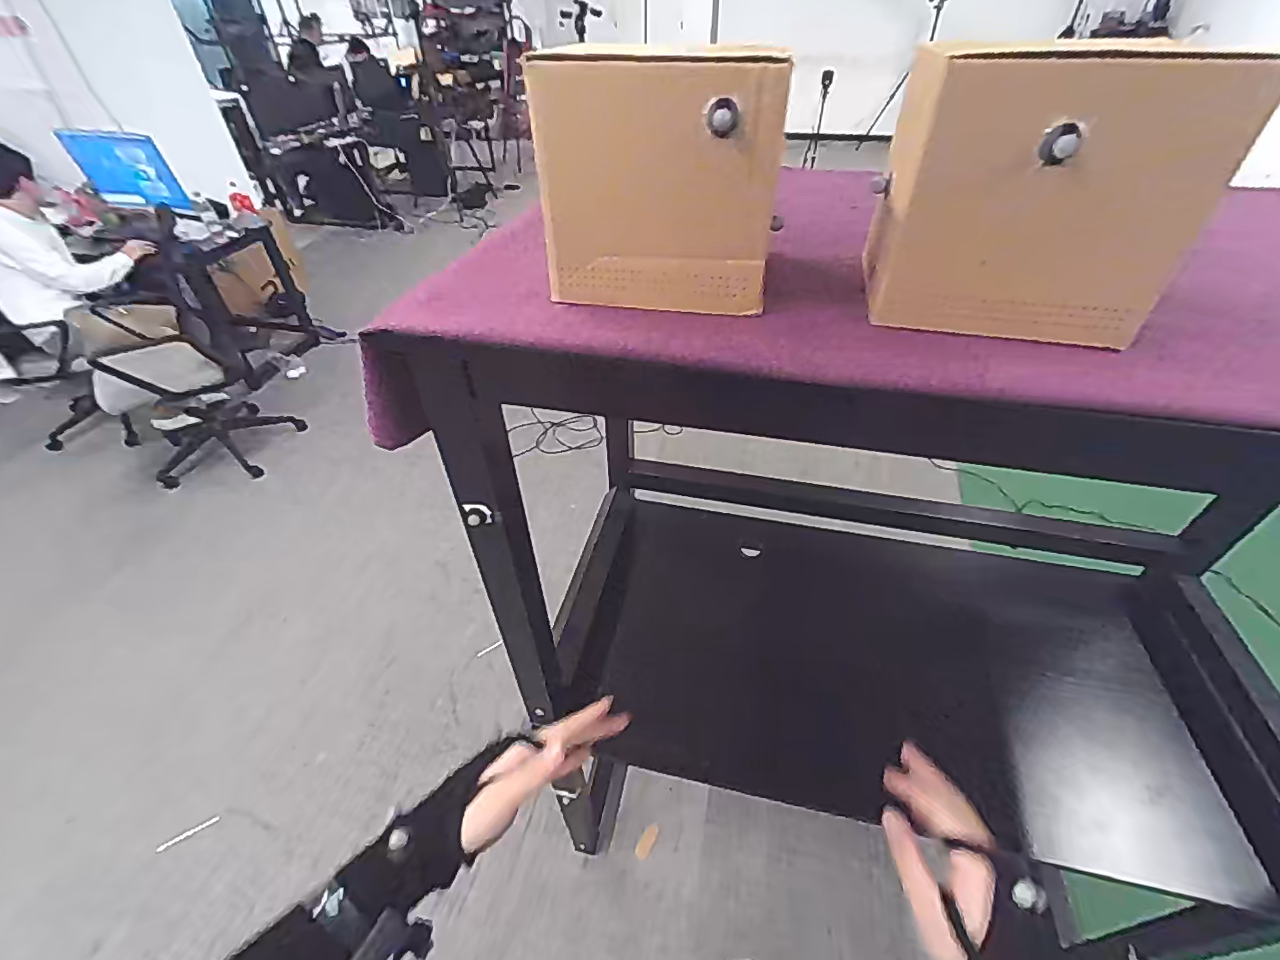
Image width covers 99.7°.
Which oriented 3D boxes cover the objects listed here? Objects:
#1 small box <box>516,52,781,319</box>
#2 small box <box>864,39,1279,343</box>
[{"bbox_3d":[0.018,-0.248,0.454,0.179,0.176,0.168,7,42,8],"label":"small box"},{"bbox_3d":[0.274,-0.217,0.406,0.179,0.176,0.168,9,43,13],"label":"small box"}]
